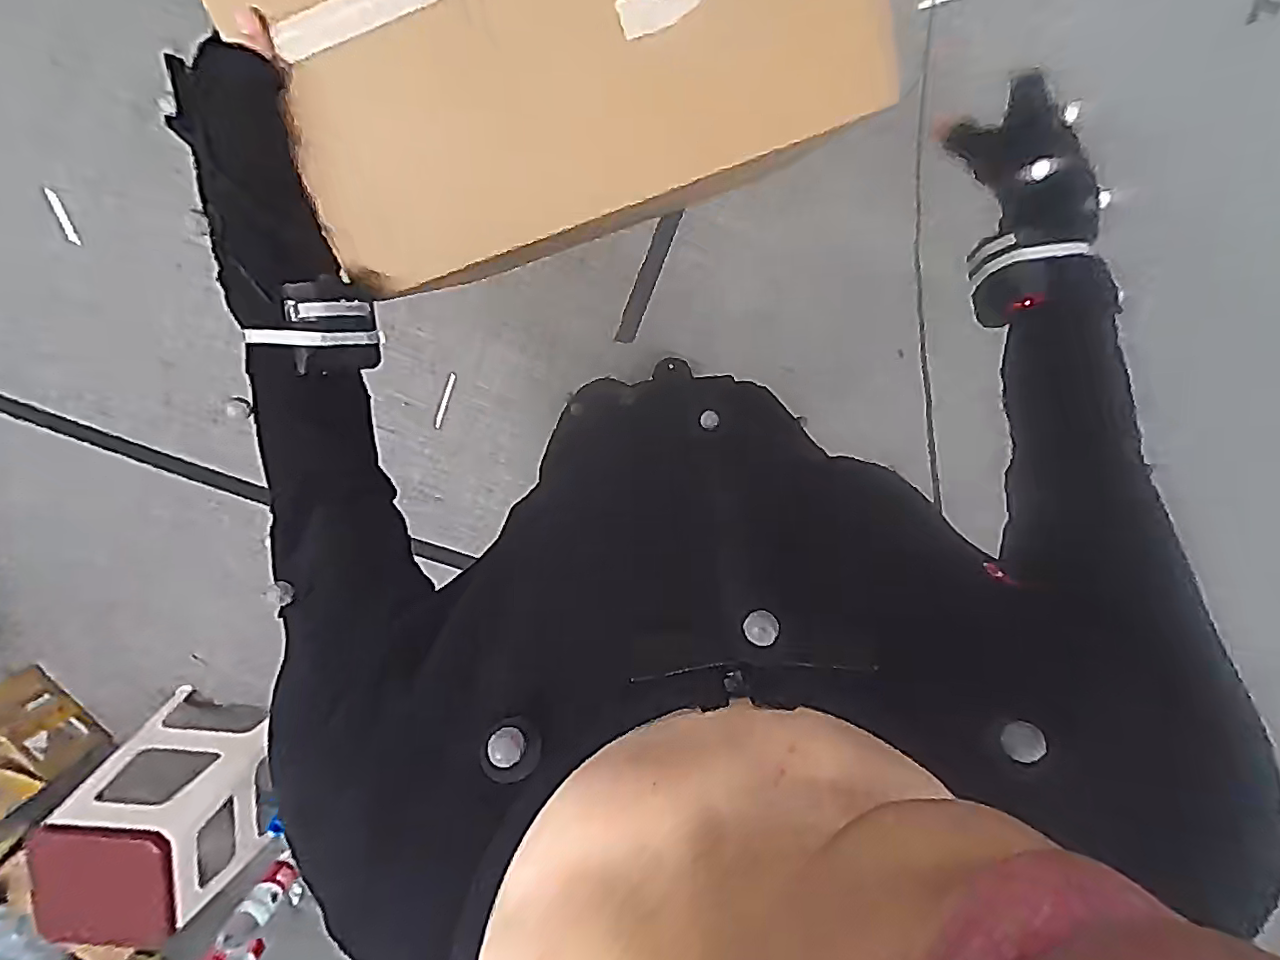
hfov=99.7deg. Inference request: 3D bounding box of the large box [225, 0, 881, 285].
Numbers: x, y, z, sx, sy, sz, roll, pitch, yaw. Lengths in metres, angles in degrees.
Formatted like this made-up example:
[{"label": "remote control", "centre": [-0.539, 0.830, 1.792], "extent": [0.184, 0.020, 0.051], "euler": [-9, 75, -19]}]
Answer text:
[{"label": "large box", "centre": [-0.073, -0.395, 0.475], "extent": [0.408, 0.320, 0.320], "euler": [-18, 112, 6]}]
